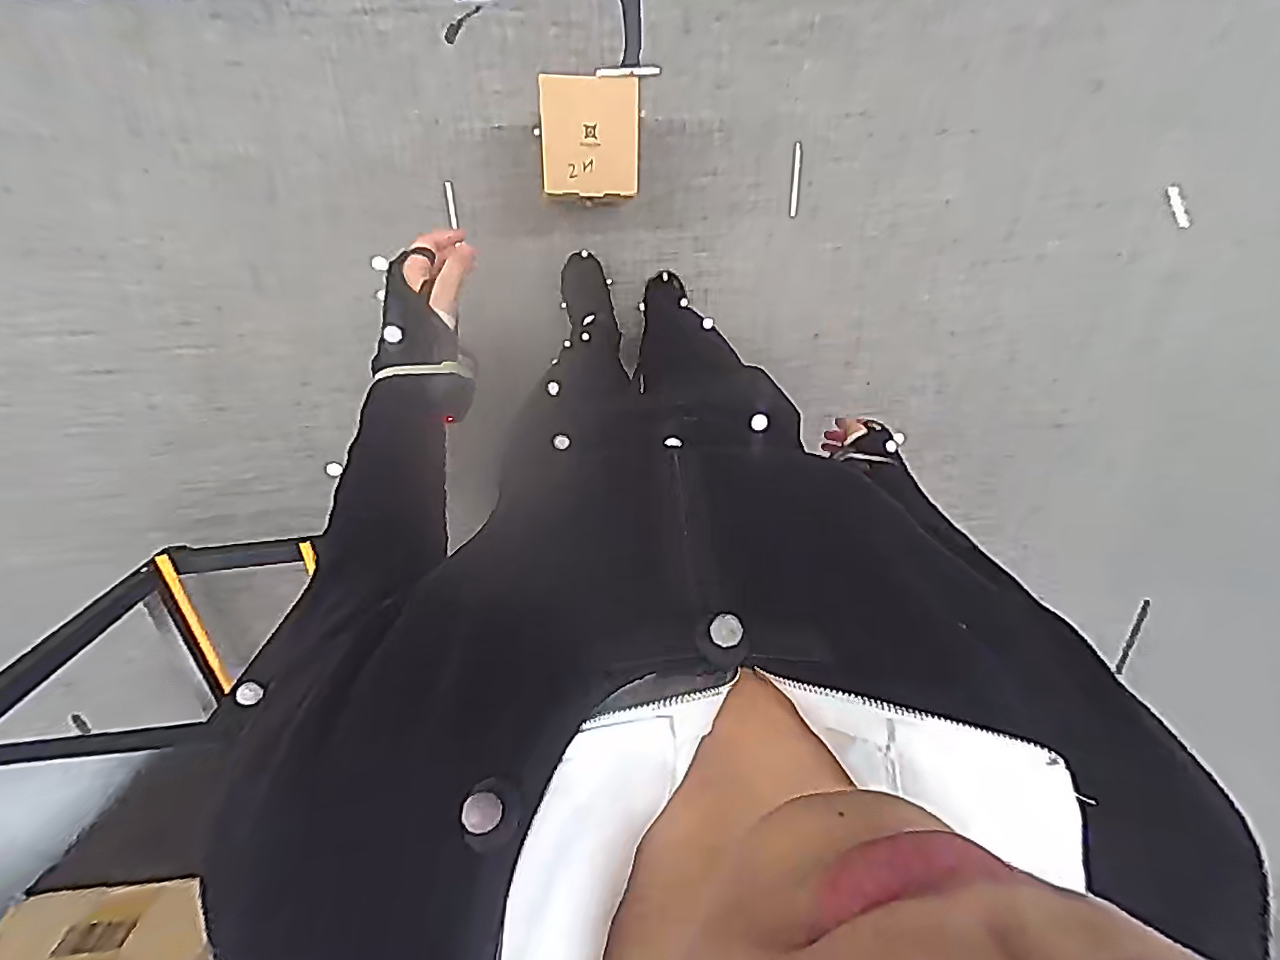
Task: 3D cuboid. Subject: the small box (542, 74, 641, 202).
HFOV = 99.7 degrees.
[{"bbox_3d":[-0.090,-0.613,0.989,0.168,0.176,0.179,-1,116,-5],"label":"small box"}]
